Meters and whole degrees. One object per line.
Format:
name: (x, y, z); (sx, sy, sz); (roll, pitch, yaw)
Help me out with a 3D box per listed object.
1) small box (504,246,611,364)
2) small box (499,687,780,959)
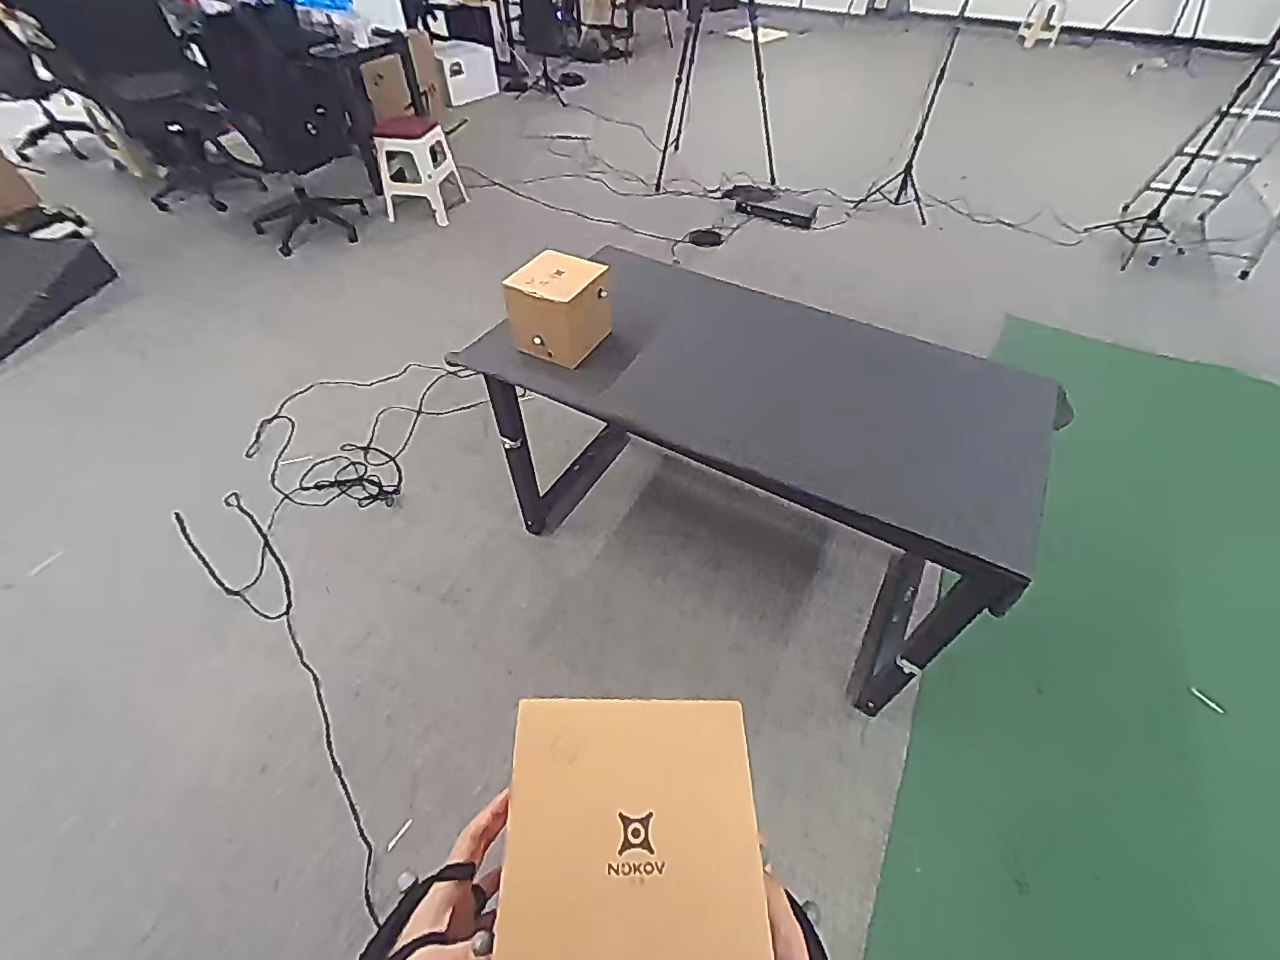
small box: (-0.179, -0.394, 1.221); (0.168, 0.176, 0.179); (23, 53, 17)
small box: (-0.013, 0.270, 0.408); (0.168, 0.176, 0.179); (4, 54, -9)
